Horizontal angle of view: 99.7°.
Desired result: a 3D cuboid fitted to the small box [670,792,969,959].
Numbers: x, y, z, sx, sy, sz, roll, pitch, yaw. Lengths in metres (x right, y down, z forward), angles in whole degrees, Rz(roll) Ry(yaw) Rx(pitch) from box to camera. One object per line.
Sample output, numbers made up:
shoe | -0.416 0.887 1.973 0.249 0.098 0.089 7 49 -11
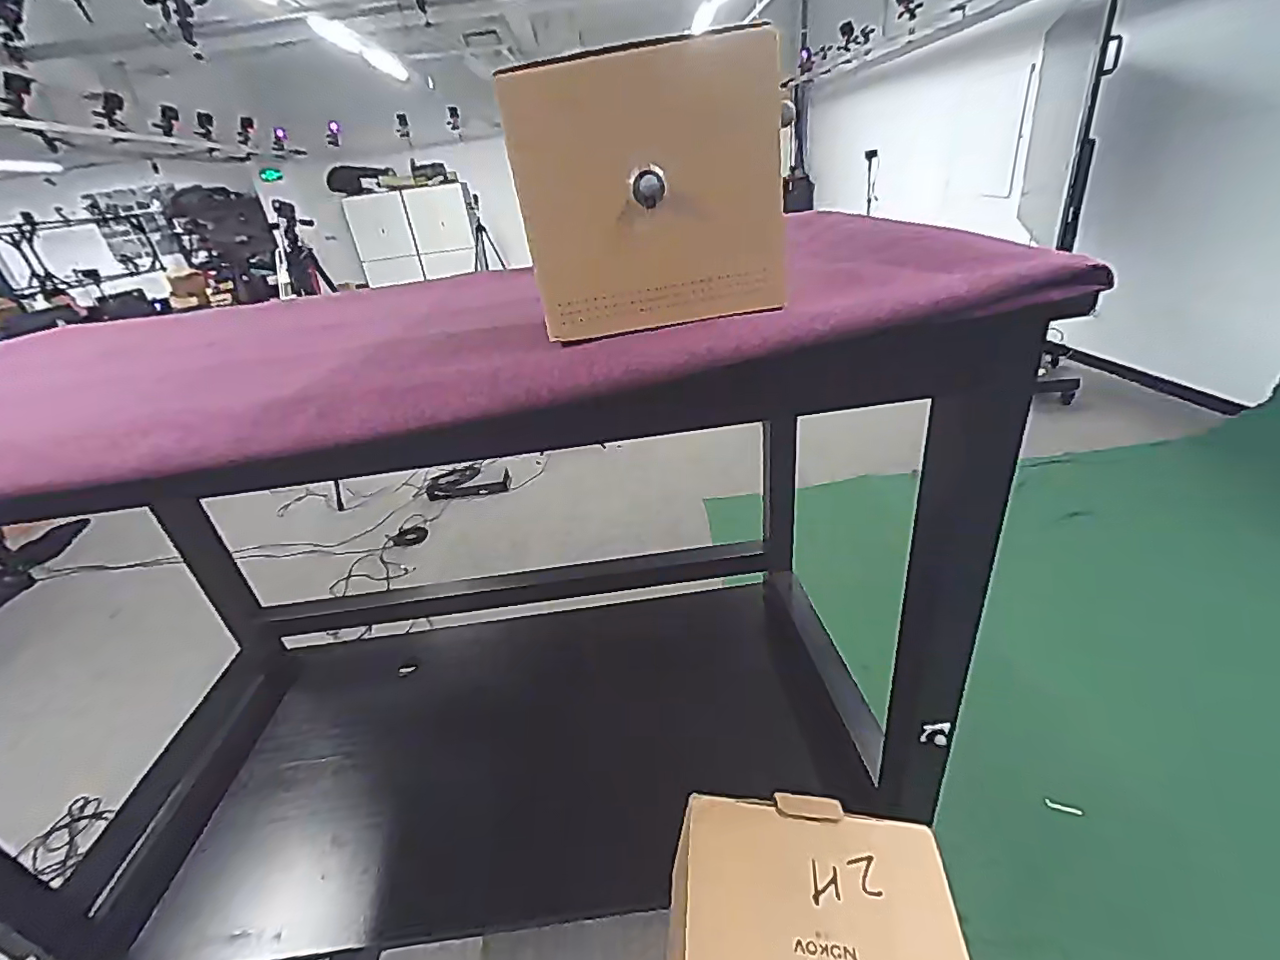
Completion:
small box | 0.106 0.343 0.357 0.168 0.176 0.179 6 38 4
